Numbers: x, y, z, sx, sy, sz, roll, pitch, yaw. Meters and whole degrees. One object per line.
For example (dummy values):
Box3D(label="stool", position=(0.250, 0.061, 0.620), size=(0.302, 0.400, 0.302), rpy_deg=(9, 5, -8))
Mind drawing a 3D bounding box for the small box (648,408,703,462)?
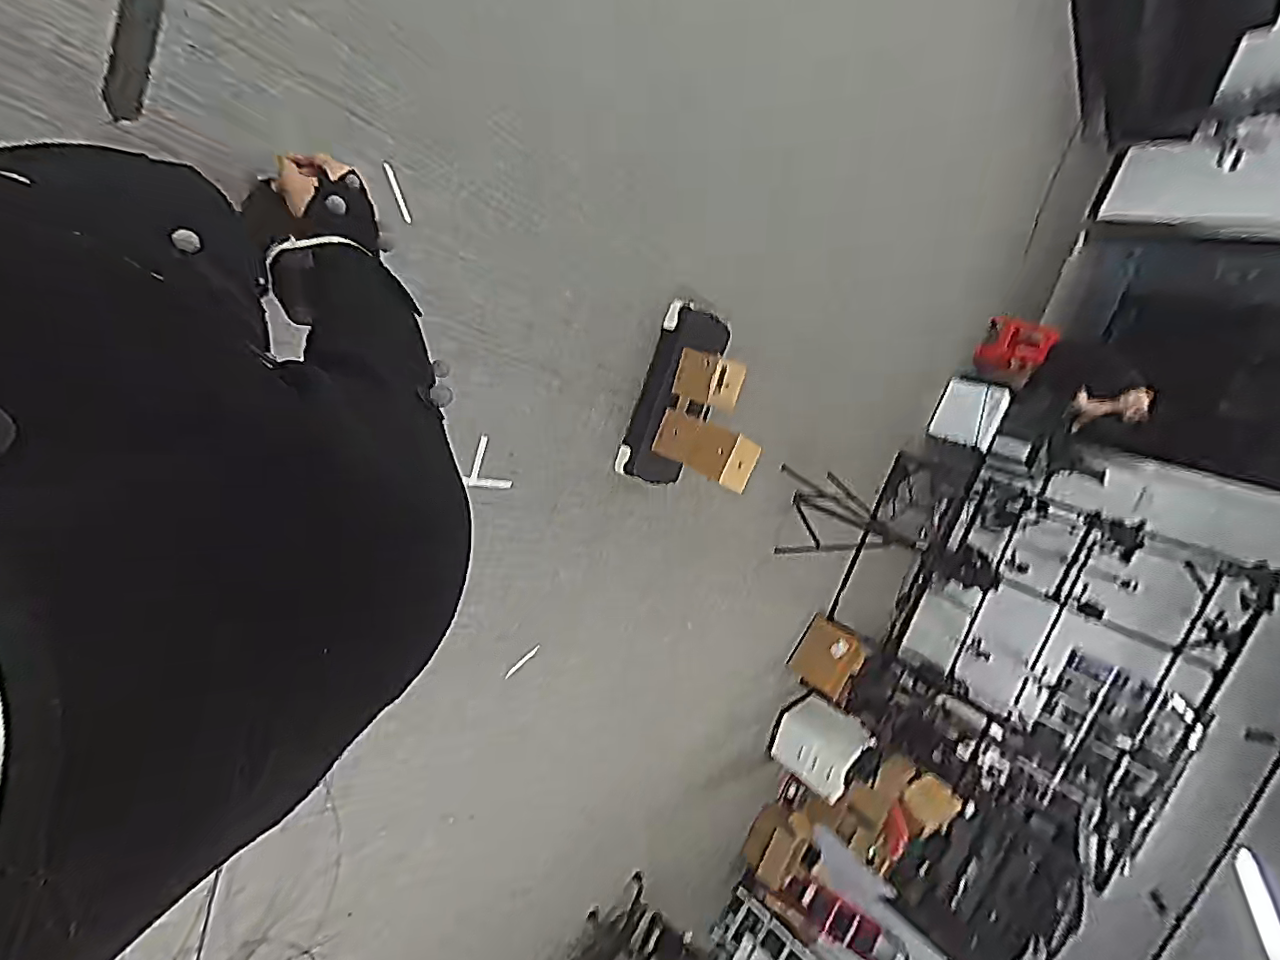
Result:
Box3D(label="small box", position=(0.157, -0.152, 1.986), size=(0.179, 0.176, 0.168), rpy_deg=(16, 99, -50))

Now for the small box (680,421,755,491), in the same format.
Box3D(label="small box", position=(0.265, -0.085, 1.883), size=(0.168, 0.176, 0.179), rpy_deg=(21, 94, -49))
